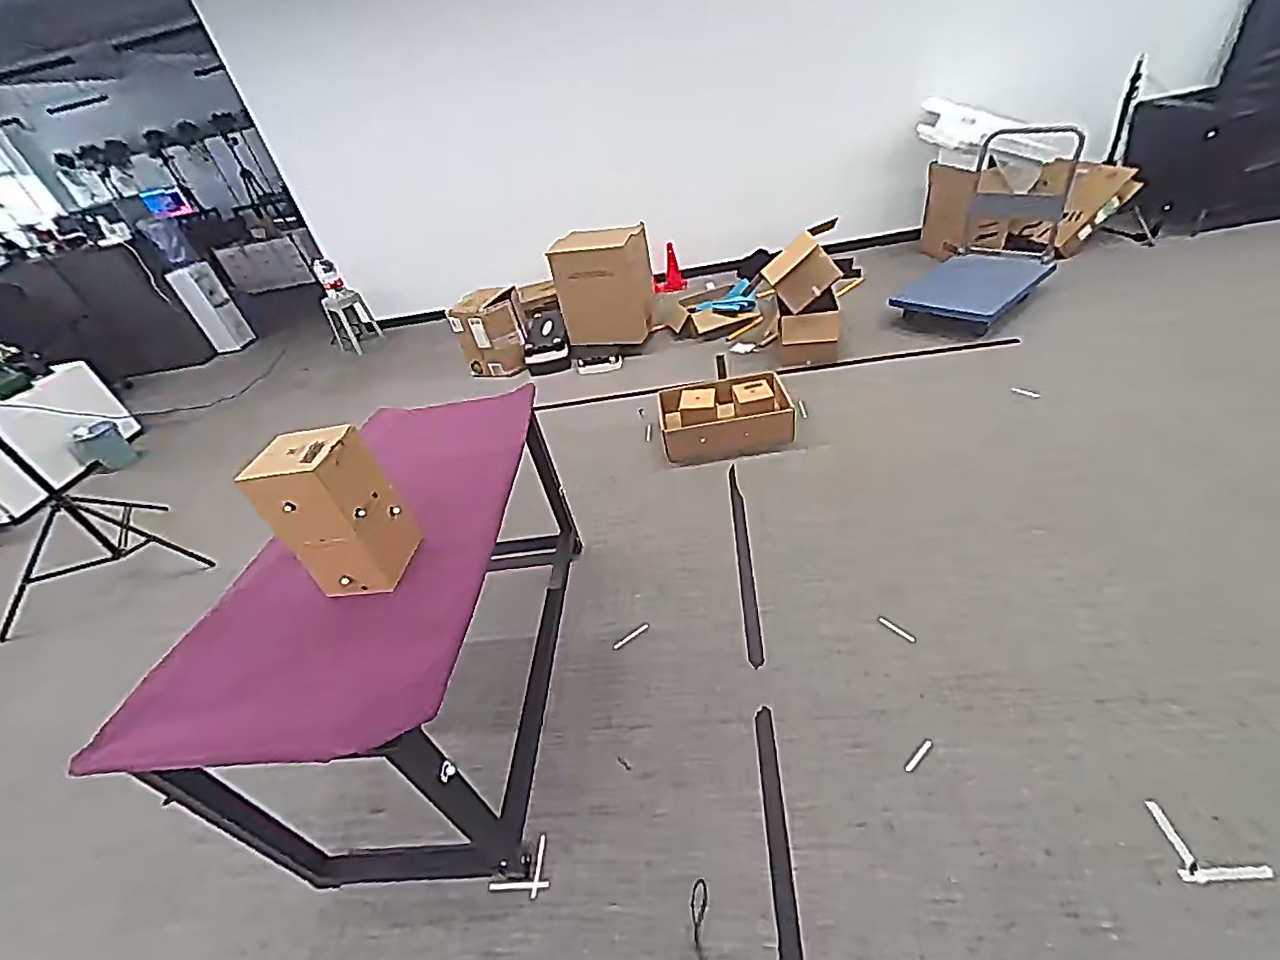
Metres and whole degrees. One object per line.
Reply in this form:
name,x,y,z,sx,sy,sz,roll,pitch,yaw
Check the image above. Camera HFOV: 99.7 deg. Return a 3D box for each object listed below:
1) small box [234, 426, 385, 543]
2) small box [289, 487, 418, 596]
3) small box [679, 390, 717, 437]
small box,-0.667,0.012,1.121,0.179,0.176,0.168,-8,37,8
small box,-0.630,0.139,1.219,0.168,0.176,0.179,-7,37,9
small box,0.291,-0.328,2.674,0.168,0.176,0.179,-2,38,12
